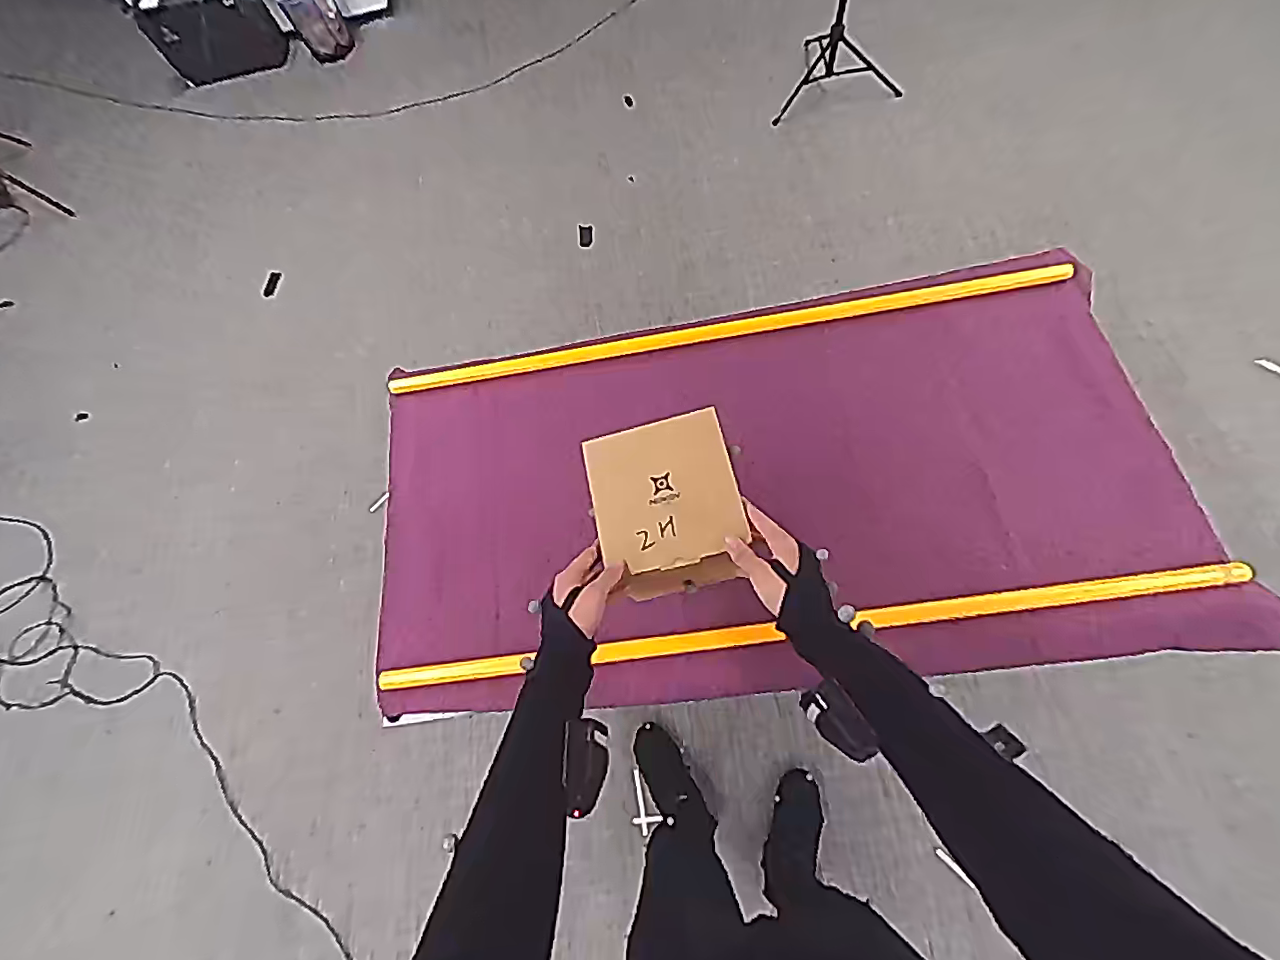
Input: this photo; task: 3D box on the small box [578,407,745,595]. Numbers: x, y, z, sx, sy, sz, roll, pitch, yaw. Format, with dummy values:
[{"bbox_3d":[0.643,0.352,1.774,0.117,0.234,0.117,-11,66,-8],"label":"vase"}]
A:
[{"bbox_3d":[0.032,0.036,0.691,0.168,0.176,0.179,-15,69,6],"label":"small box"}]
